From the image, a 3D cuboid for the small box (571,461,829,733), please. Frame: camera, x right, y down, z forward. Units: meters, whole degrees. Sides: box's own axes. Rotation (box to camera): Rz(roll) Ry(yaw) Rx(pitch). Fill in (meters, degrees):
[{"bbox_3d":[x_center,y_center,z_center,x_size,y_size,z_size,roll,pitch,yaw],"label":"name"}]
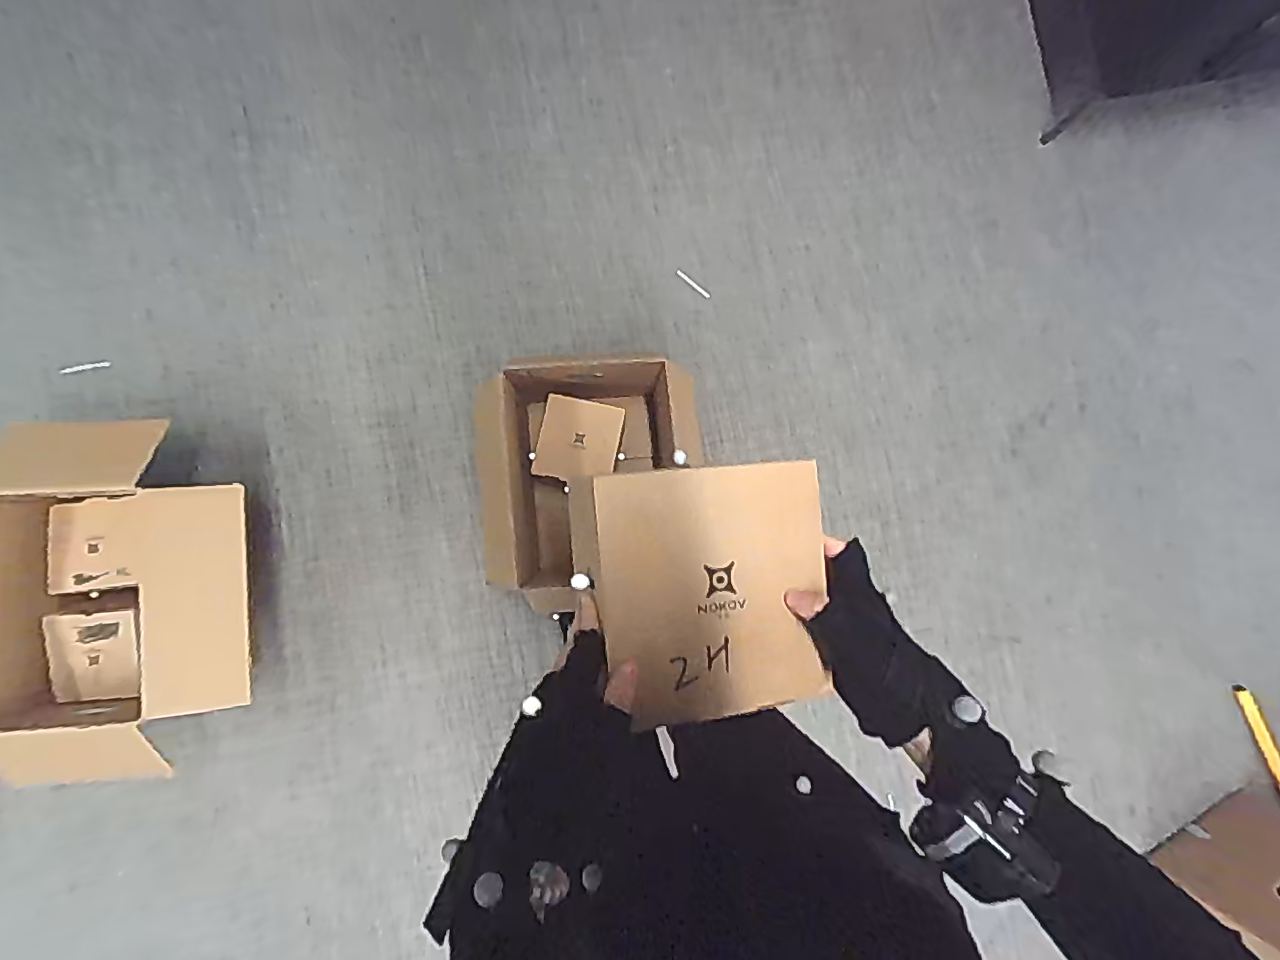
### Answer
[{"bbox_3d":[0.035,0.079,0.455,0.168,0.176,0.179,-4,90,-13],"label":"small box"}]
